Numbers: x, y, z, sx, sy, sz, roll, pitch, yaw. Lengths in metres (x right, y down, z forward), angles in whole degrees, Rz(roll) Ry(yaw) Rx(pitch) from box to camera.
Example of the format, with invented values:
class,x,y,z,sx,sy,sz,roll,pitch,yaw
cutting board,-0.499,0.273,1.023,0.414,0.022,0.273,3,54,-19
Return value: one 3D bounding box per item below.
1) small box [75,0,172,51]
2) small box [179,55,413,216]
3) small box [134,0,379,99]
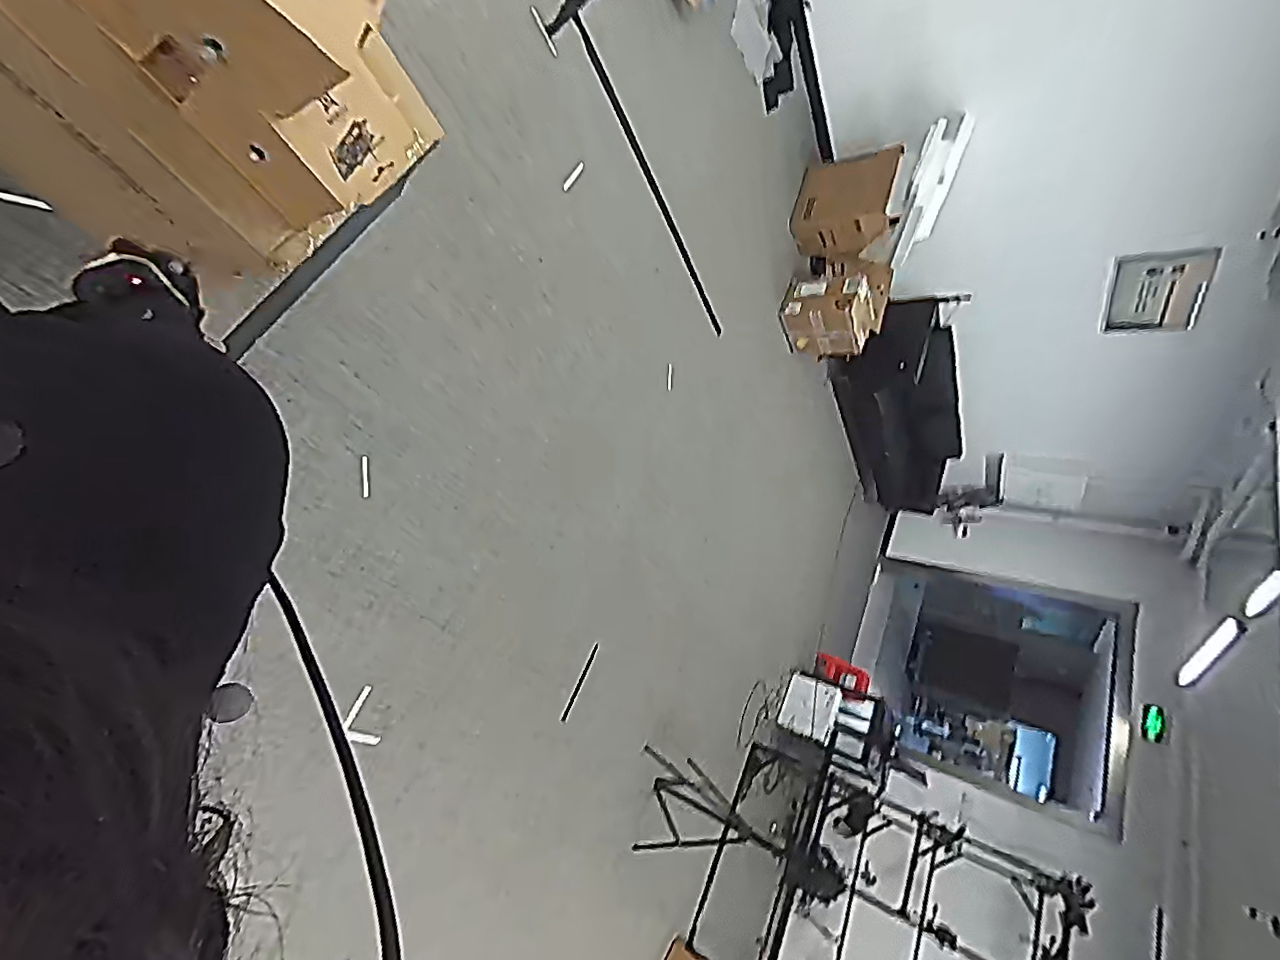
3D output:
class,x,y,z,sx,sy,sz,roll,pitch,yaw
small box,-0.551,-0.609,0.569,0.179,0.176,0.168,50,59,-49
small box,-0.456,-0.481,0.726,0.179,0.176,0.168,53,56,-43
small box,-0.385,-0.522,0.537,0.179,0.176,0.168,26,77,-53
